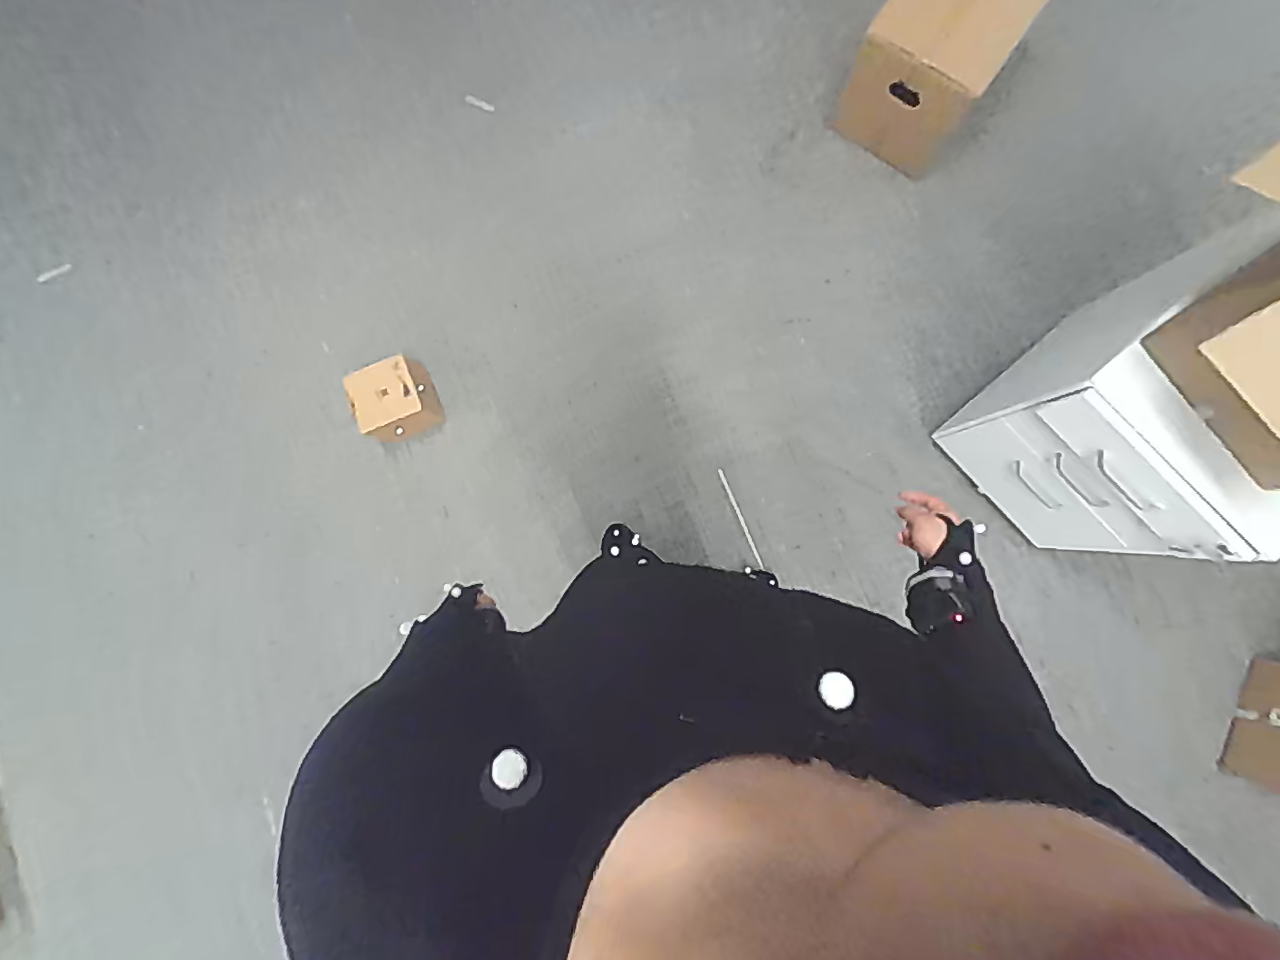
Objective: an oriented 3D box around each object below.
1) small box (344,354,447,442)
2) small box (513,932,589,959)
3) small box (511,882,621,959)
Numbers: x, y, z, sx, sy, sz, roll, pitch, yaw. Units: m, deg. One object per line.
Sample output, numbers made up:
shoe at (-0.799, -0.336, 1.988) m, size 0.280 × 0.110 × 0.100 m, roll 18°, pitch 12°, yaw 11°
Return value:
small box at (-0.665, -0.216, 1.489) m, size 0.179 × 0.176 × 0.168 m, roll -22°, pitch 83°, yaw 1°
small box at (-0.167, 1.014, 1.007) m, size 0.168 × 0.176 × 0.179 m, roll -28°, pitch 82°, yaw 0°
small box at (-0.151, 1.032, 1.168) m, size 0.168 × 0.176 × 0.179 m, roll -27°, pitch 83°, yaw 0°
